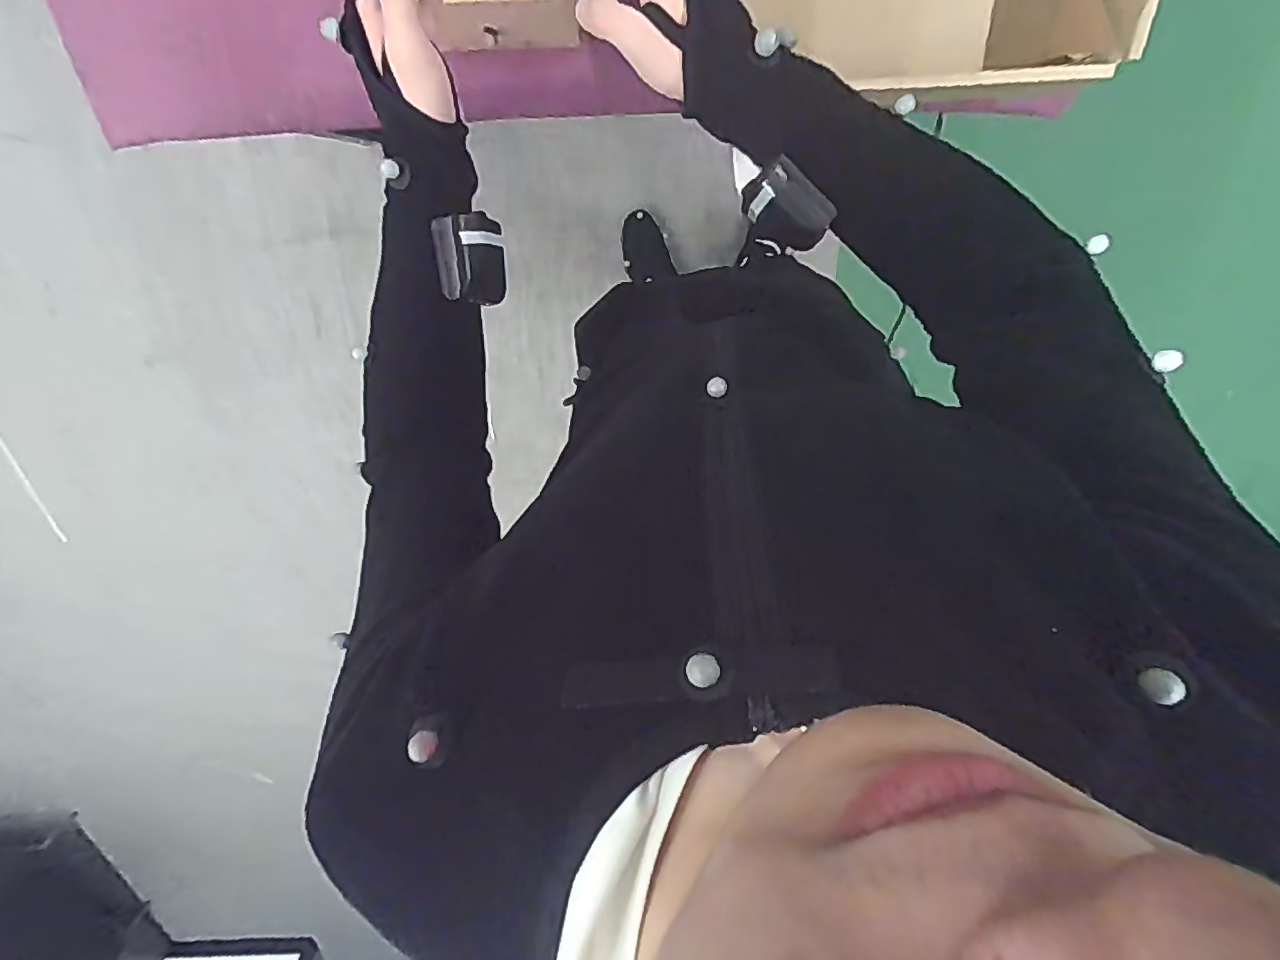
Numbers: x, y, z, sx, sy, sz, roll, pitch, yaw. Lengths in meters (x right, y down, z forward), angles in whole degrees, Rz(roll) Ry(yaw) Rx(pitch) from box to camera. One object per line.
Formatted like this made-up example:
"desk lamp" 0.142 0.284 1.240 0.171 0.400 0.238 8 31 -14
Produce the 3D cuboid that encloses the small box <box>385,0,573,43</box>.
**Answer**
"small box" -0.160 -0.559 0.537 0.168 0.176 0.179 -2 117 -1
